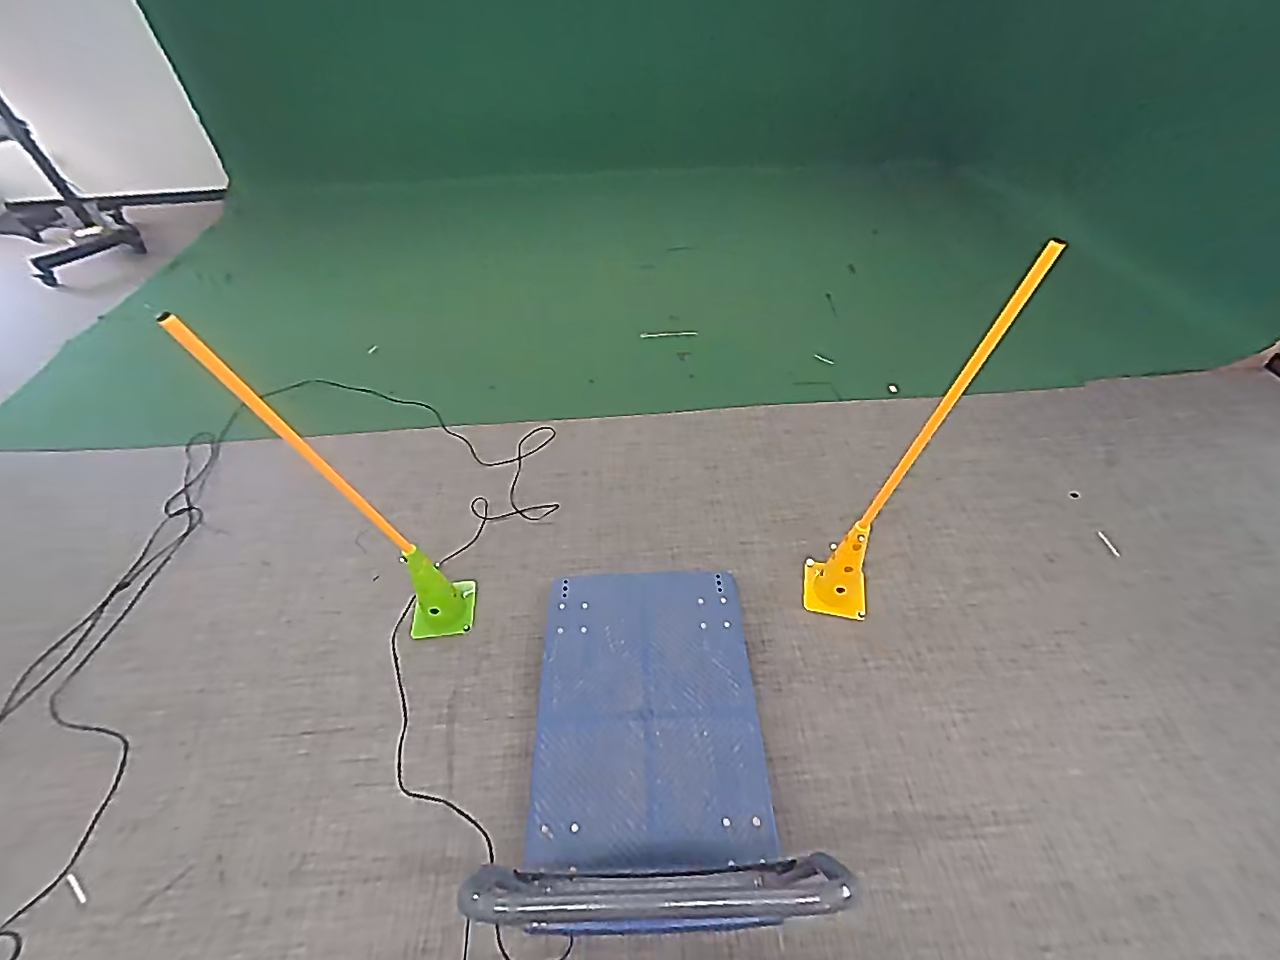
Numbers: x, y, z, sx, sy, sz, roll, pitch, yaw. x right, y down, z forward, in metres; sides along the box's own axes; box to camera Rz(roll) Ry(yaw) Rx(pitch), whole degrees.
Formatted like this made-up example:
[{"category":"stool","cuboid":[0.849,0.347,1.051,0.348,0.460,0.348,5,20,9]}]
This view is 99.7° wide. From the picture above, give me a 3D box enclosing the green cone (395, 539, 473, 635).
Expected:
[{"category":"green cone","cuboid":[-0.678,0.304,1.702,0.202,0.368,0.200,-8,47,-3]}]
